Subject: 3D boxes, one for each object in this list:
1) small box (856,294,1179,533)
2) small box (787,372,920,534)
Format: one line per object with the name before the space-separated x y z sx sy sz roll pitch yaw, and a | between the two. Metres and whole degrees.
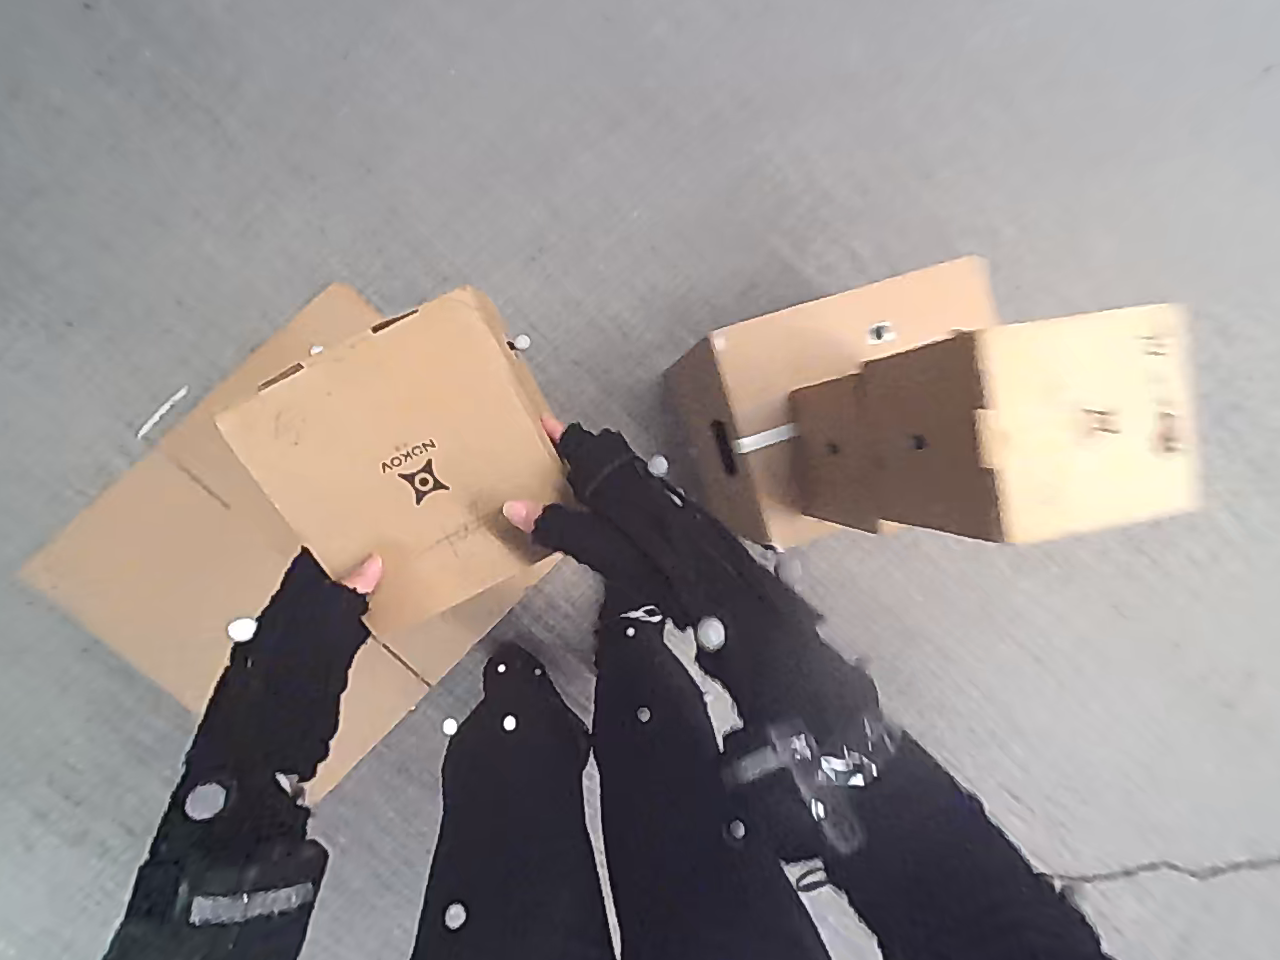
small box | 0.325 -0.052 0.505 0.179 0.176 0.168 -13 92 -8
small box | 0.300 -0.043 0.664 0.168 0.176 0.179 -11 93 -8
